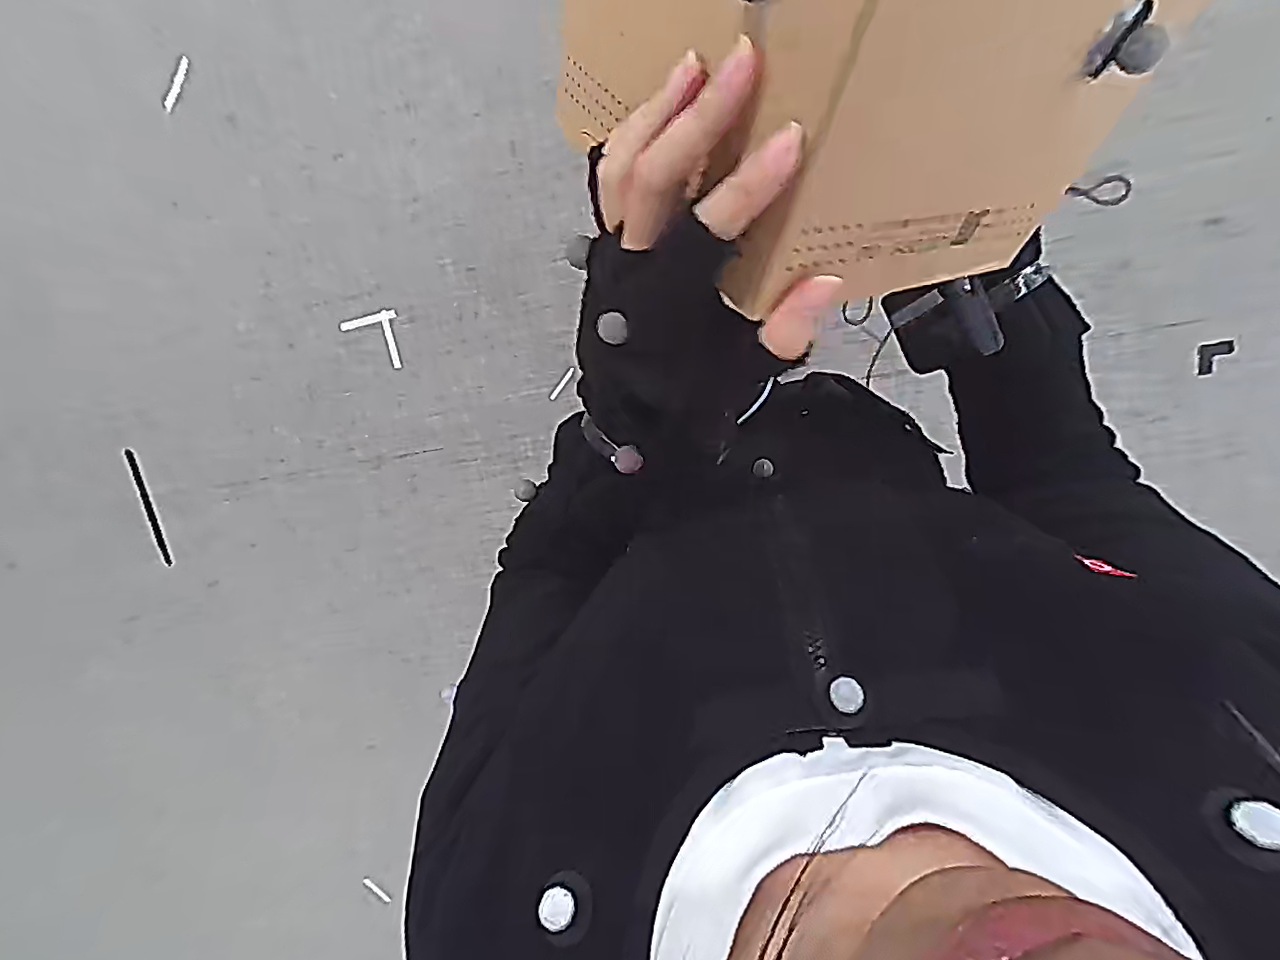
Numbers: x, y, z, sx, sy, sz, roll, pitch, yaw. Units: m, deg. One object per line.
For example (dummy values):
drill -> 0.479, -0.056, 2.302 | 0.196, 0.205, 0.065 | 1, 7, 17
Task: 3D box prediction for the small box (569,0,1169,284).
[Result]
small box -> 0.081, -0.194, 0.214 | 0.179, 0.168, 0.176 | 58, 151, 30
